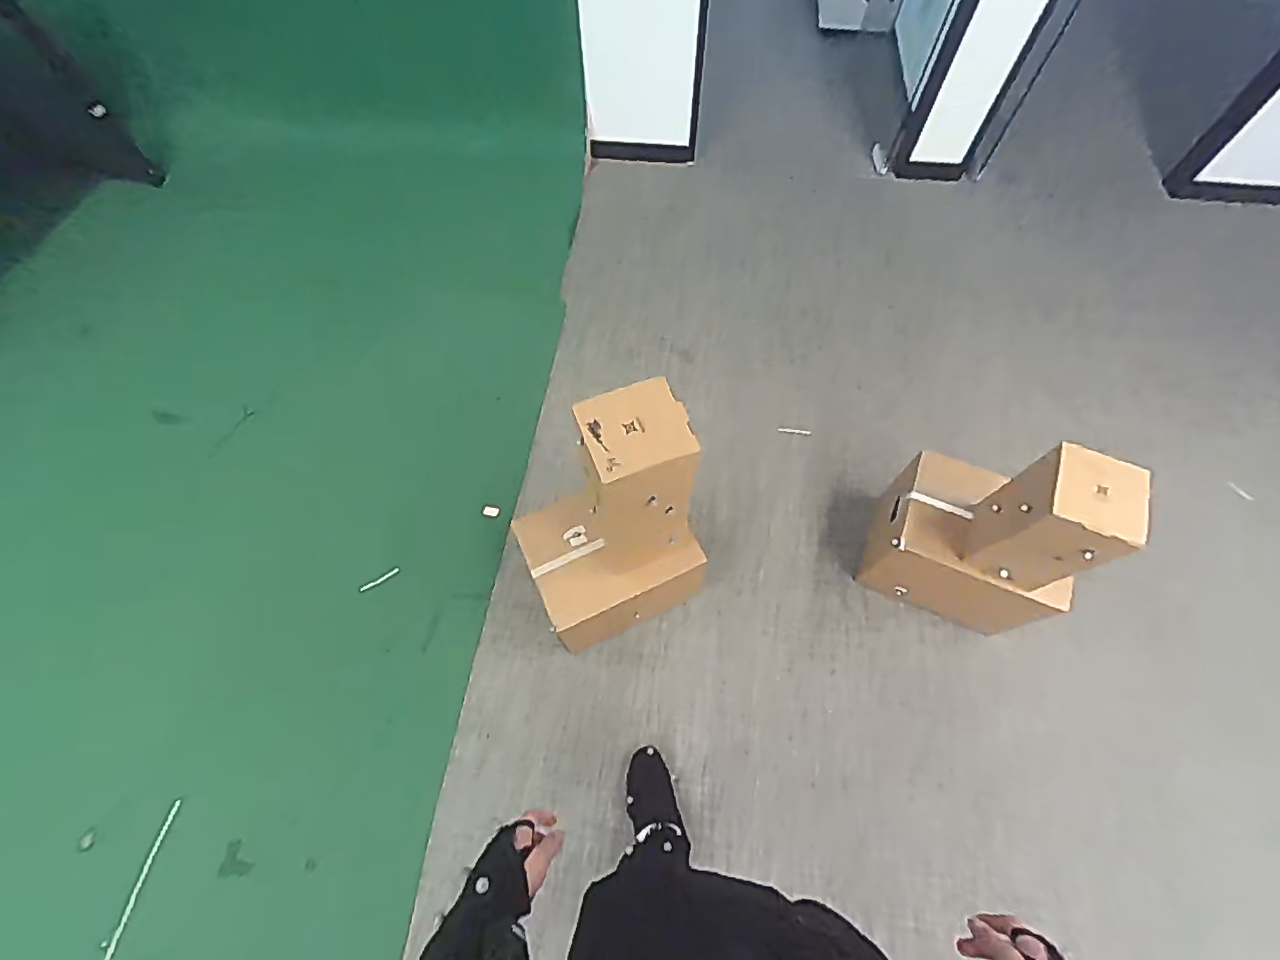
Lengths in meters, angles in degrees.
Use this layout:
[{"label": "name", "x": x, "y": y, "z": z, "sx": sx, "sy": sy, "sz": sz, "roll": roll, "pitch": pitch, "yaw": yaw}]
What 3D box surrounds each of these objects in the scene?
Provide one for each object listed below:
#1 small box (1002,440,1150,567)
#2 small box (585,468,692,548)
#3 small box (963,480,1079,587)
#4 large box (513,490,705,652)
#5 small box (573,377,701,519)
[{"label": "small box", "x": 0.878, "y": 0.055, "z": 1.102, "sx": 0.168, "sy": 0.176, "sz": 0.179, "roll": 23, "pitch": 66, "yaw": 11}, {"label": "small box", "x": -0.010, "y": 0.018, "z": 1.122, "sx": 0.179, "sy": 0.176, "sz": 0.168, "roll": -20, "pitch": 64, "yaw": -10}, {"label": "small box", "x": 0.885, "y": 0.122, "z": 1.250, "sx": 0.168, "sy": 0.176, "sz": 0.179, "roll": 25, "pitch": 68, "yaw": 12}, {"label": "large box", "x": -0.077, "y": 0.220, "z": 1.480, "sx": 0.408, "sy": 0.320, "sz": 0.320, "roll": -24, "pitch": 64, "yaw": -10}, {"label": "small box", "x": -0.009, "y": -0.053, "z": 0.974, "sx": 0.179, "sy": 0.176, "sz": 0.168, "roll": -19, "pitch": 64, "yaw": -10}]
